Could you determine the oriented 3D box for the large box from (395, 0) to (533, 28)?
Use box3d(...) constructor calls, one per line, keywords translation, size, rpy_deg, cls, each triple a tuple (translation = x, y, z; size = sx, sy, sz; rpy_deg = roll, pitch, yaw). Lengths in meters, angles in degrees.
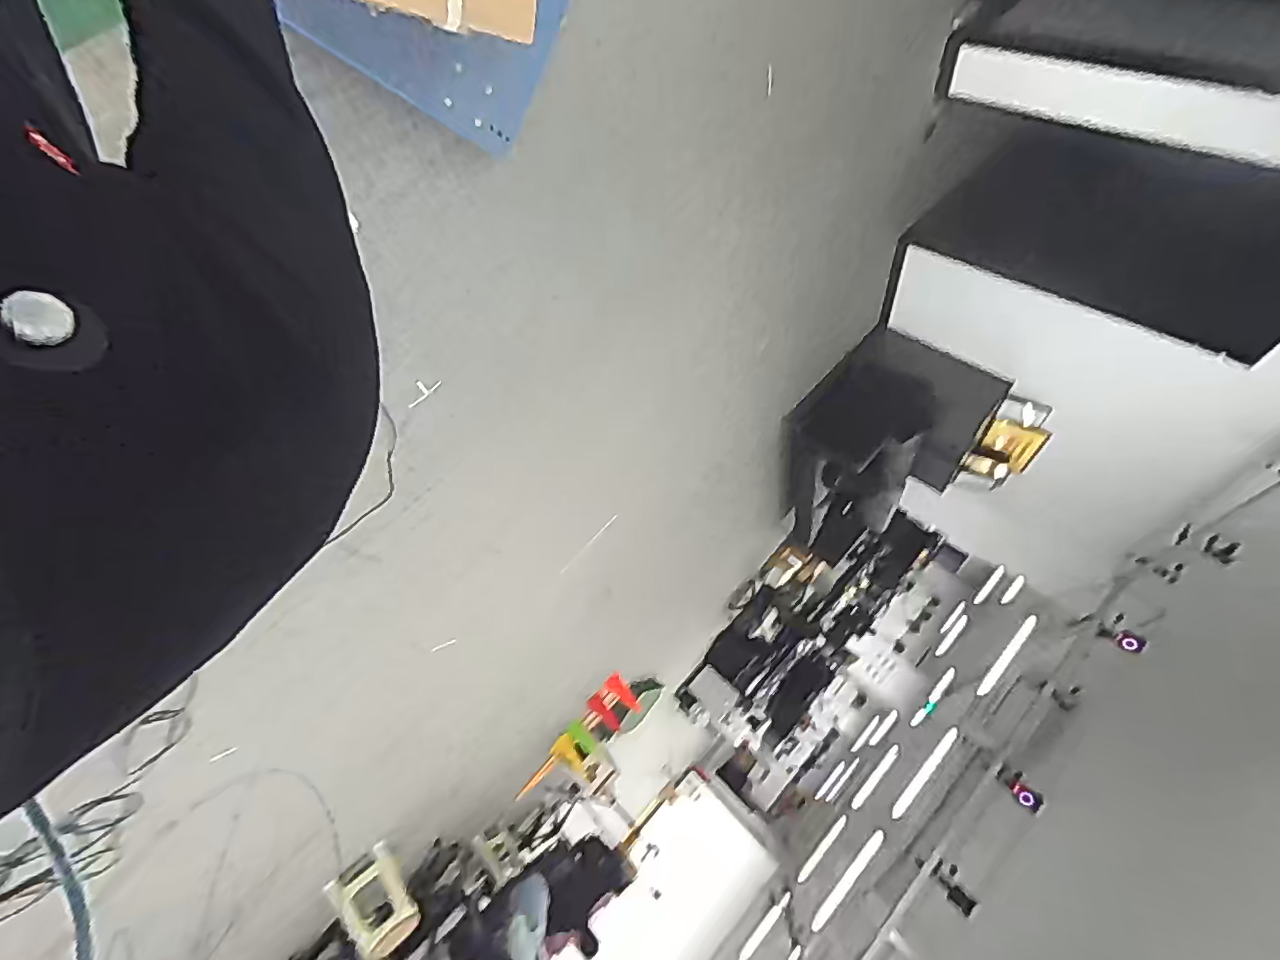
box3d(translation=(-0.357, -0.952, 0.778), size=(0.320, 0.320, 0.408), rpy_deg=(-24, 141, -41), cls="large box")
